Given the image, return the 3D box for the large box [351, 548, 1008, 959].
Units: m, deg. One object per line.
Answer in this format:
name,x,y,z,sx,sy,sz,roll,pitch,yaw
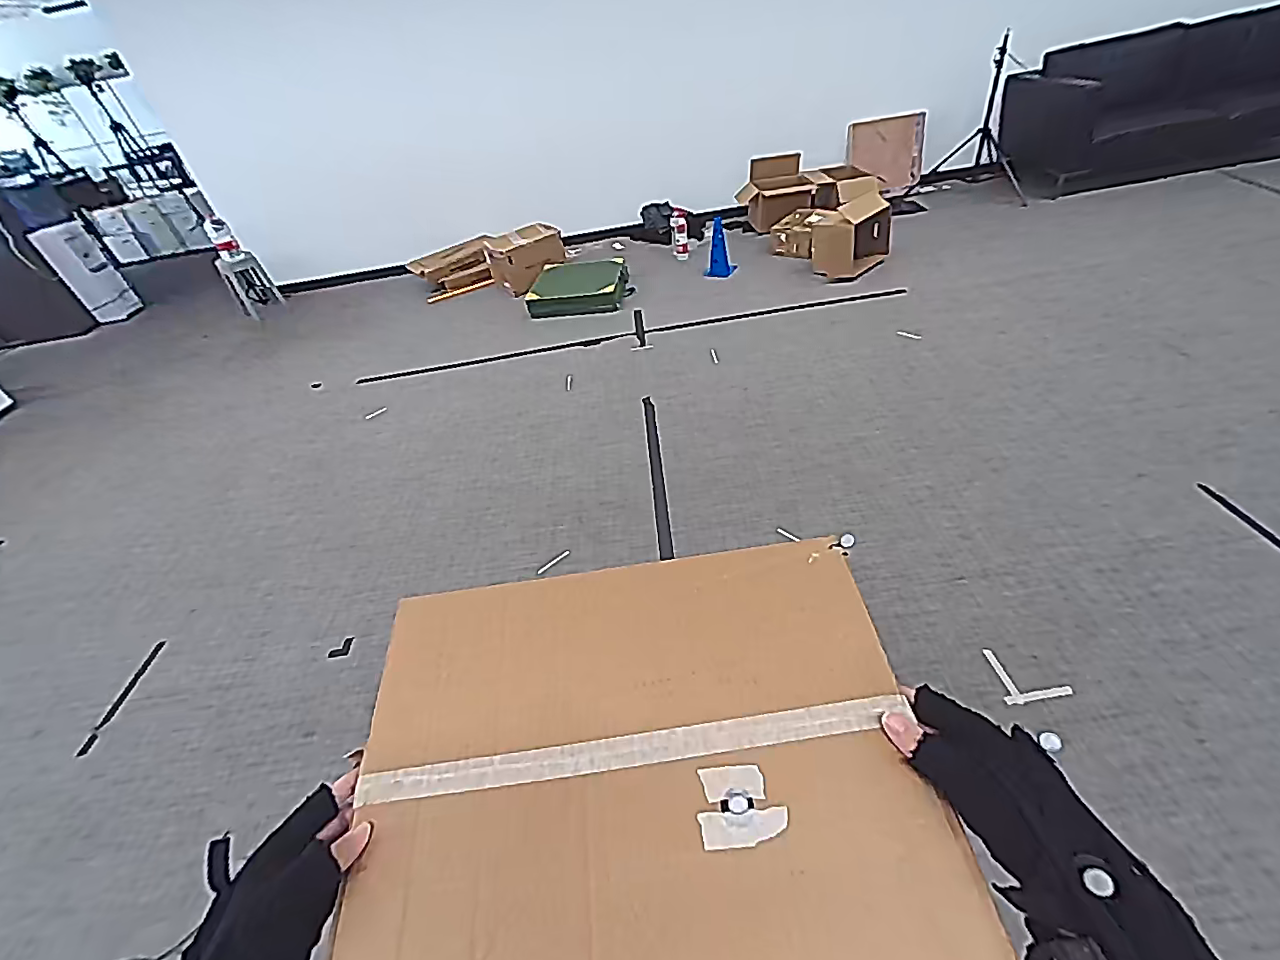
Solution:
large box,0.014,0.304,0.516,0.408,0.320,0.320,-8,49,0
